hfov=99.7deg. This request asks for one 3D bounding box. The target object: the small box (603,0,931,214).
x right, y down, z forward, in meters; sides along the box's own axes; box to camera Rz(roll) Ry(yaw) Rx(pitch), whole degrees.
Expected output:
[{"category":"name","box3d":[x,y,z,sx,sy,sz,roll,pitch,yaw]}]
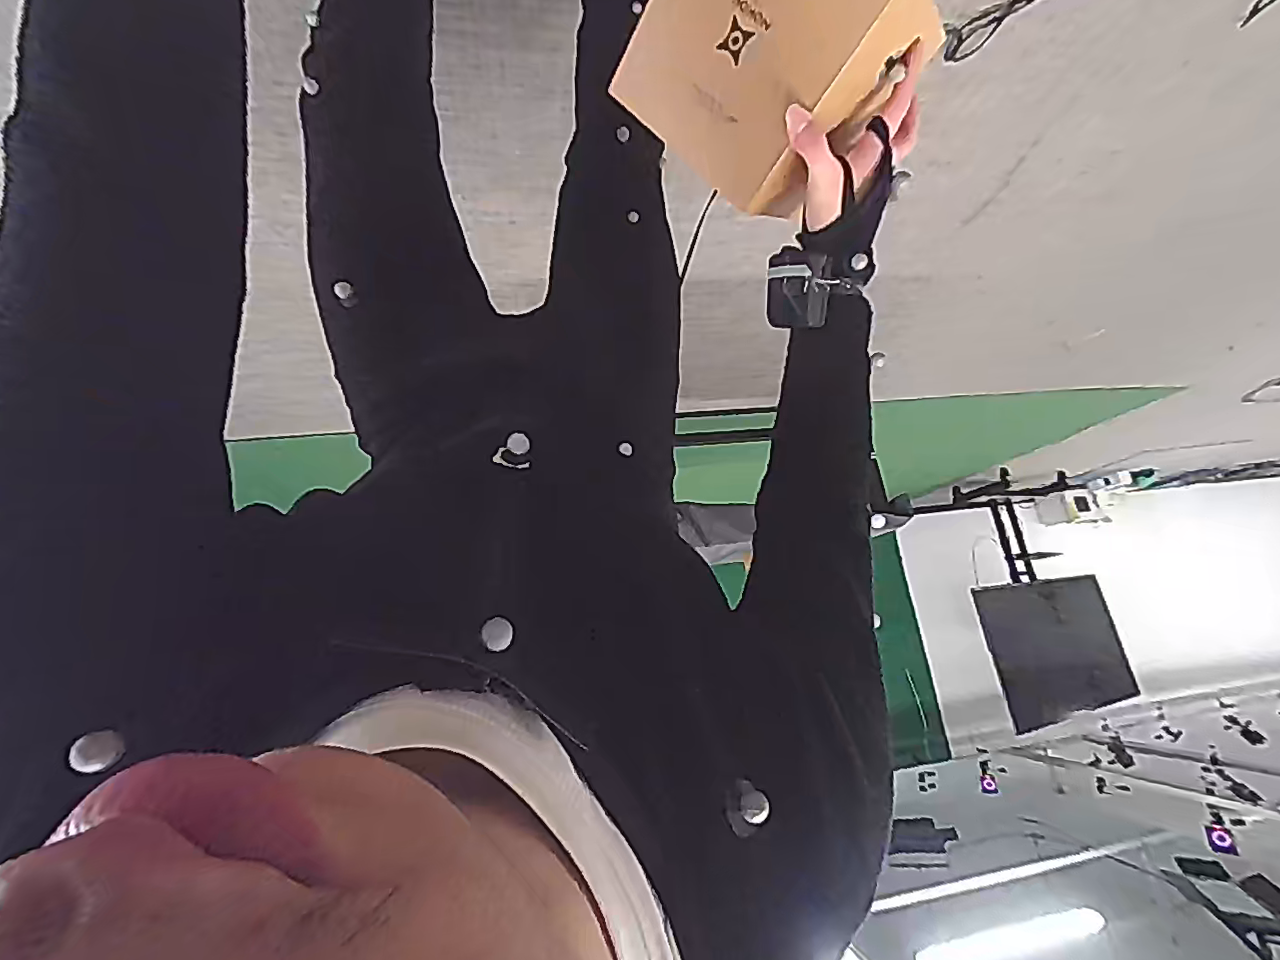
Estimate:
[{"category":"small box","box3d":[0.109,-0.349,0.443,0.176,0.168,0.179,-29,165,-50]}]

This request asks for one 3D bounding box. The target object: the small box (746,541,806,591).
[{"category":"small box","box3d":[0.547,0.349,2.208,0.168,0.176,0.179,-5,164,-14]}]
